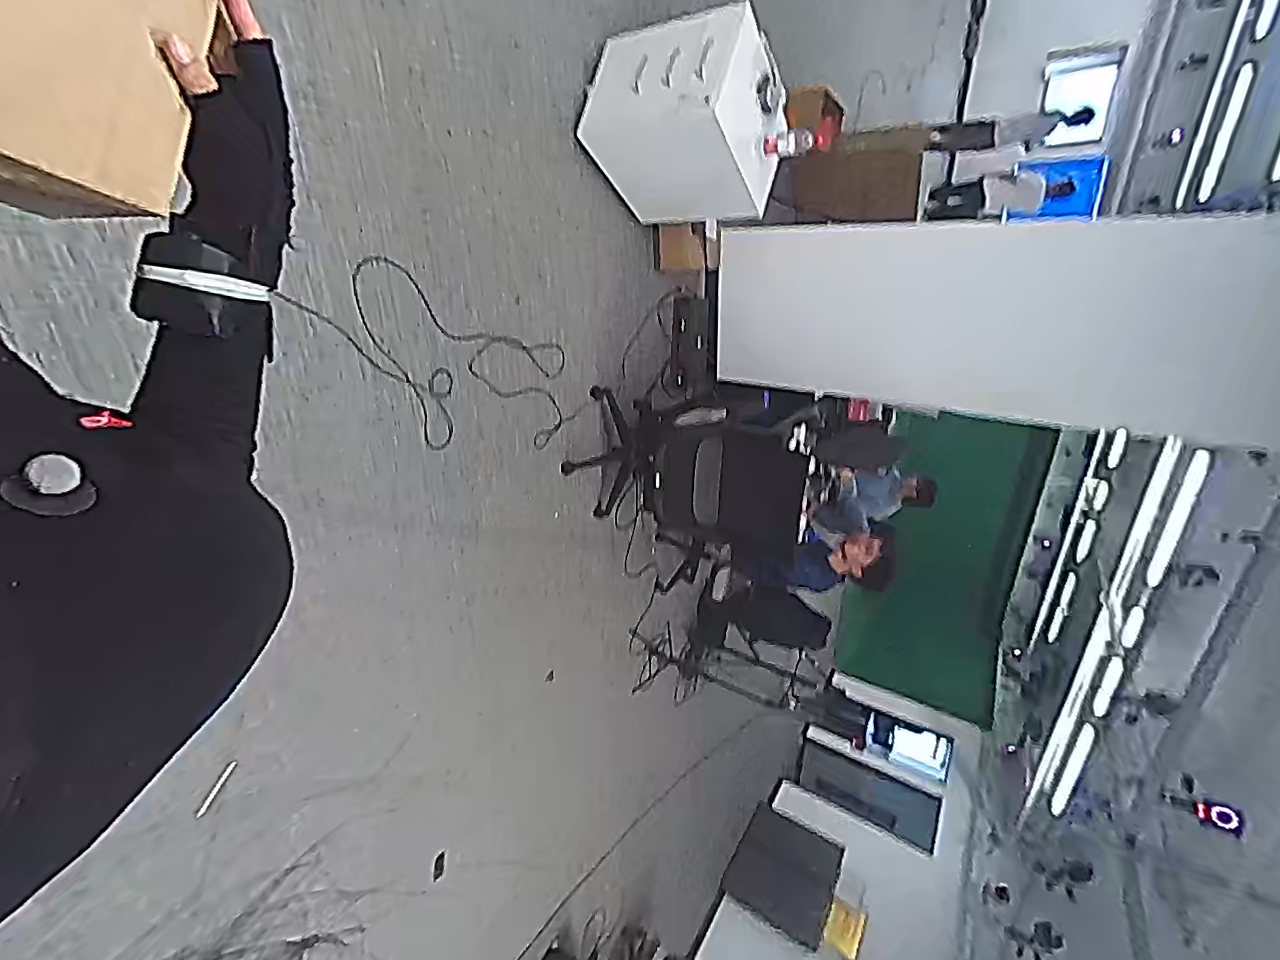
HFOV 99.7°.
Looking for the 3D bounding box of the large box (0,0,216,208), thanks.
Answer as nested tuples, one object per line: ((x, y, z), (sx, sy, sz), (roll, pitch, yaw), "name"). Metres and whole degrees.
((-0.512, -0.387, 0.275), (0.408, 0.320, 0.320), (9, 98, -59), "large box")
